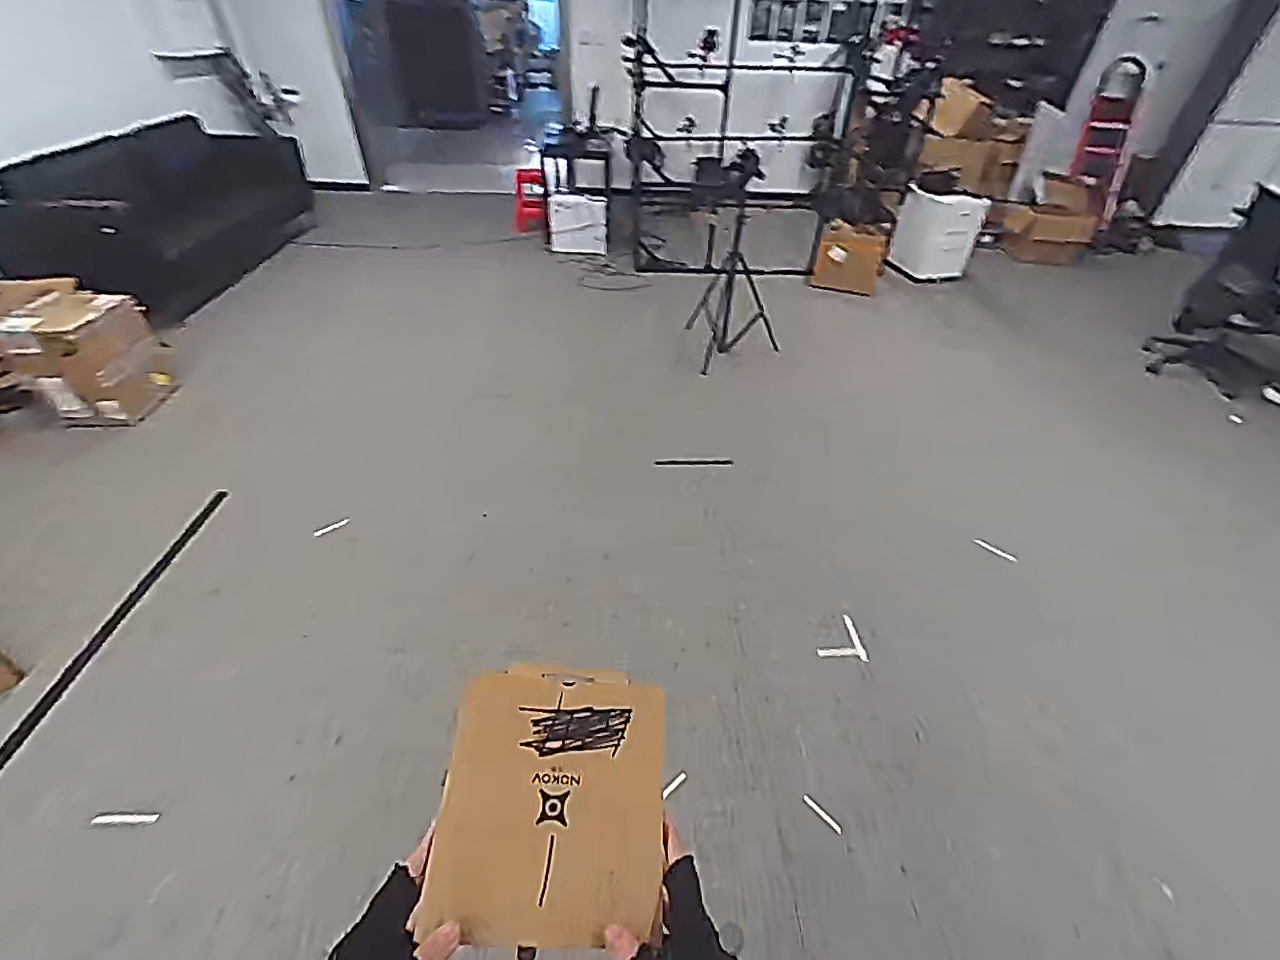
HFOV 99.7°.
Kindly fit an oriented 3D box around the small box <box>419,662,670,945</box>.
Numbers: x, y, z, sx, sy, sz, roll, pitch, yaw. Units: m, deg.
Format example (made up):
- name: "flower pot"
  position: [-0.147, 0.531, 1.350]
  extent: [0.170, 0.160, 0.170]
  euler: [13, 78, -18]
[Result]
- name: "small box"
  position: [-0.071, 0.277, 0.464]
  extent: [0.168, 0.176, 0.179]
  euler: [7, 52, -6]
